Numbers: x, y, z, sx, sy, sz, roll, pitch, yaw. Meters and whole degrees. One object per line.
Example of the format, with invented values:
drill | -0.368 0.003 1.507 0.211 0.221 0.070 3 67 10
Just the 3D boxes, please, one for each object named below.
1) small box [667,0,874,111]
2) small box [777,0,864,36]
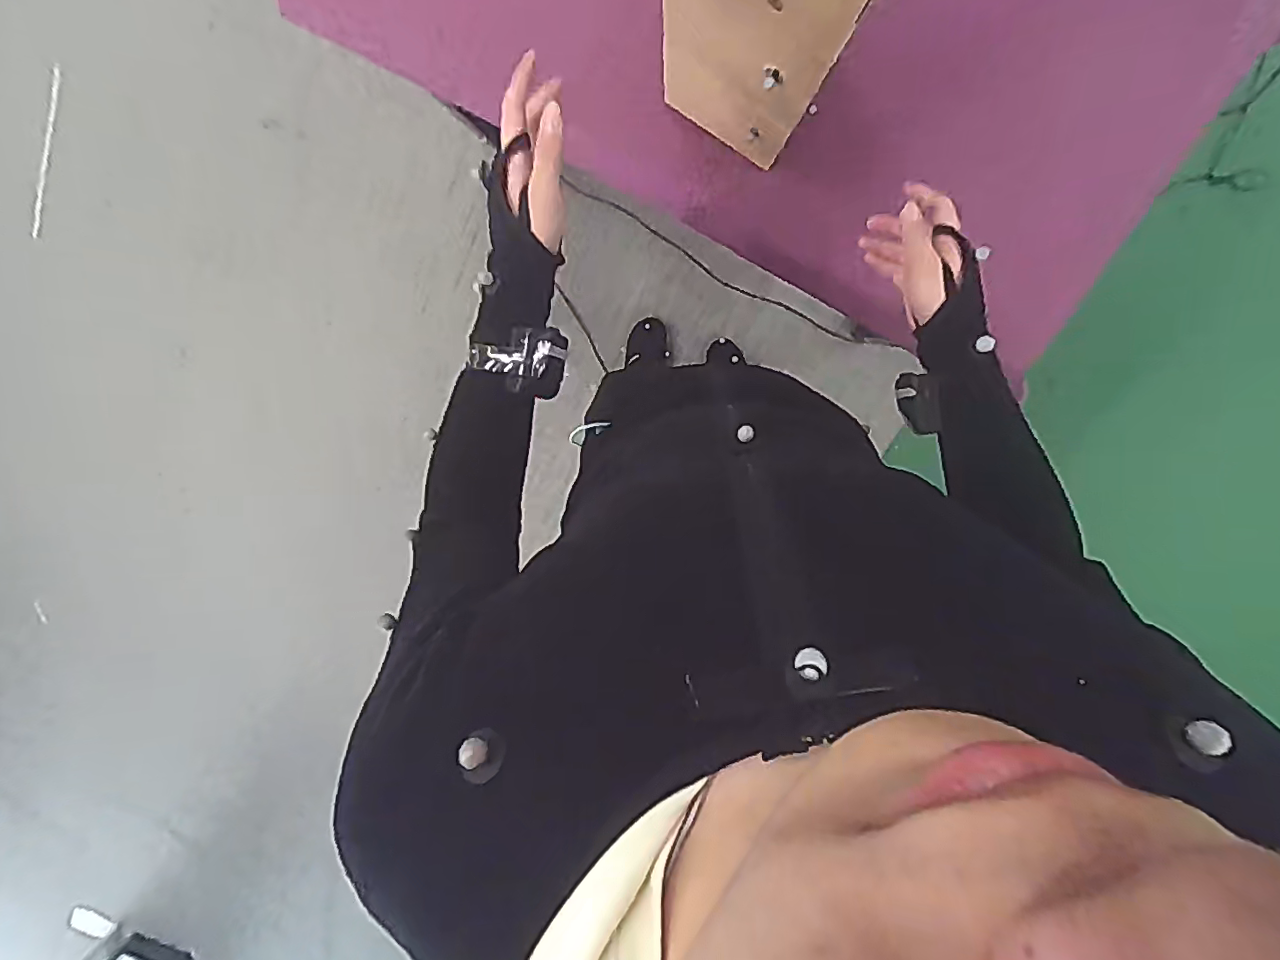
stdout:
small box | 0.140 -0.489 0.506 0.179 0.176 0.168 32 105 -5
small box | 0.132 -0.450 0.348 0.168 0.176 0.179 31 106 -6
